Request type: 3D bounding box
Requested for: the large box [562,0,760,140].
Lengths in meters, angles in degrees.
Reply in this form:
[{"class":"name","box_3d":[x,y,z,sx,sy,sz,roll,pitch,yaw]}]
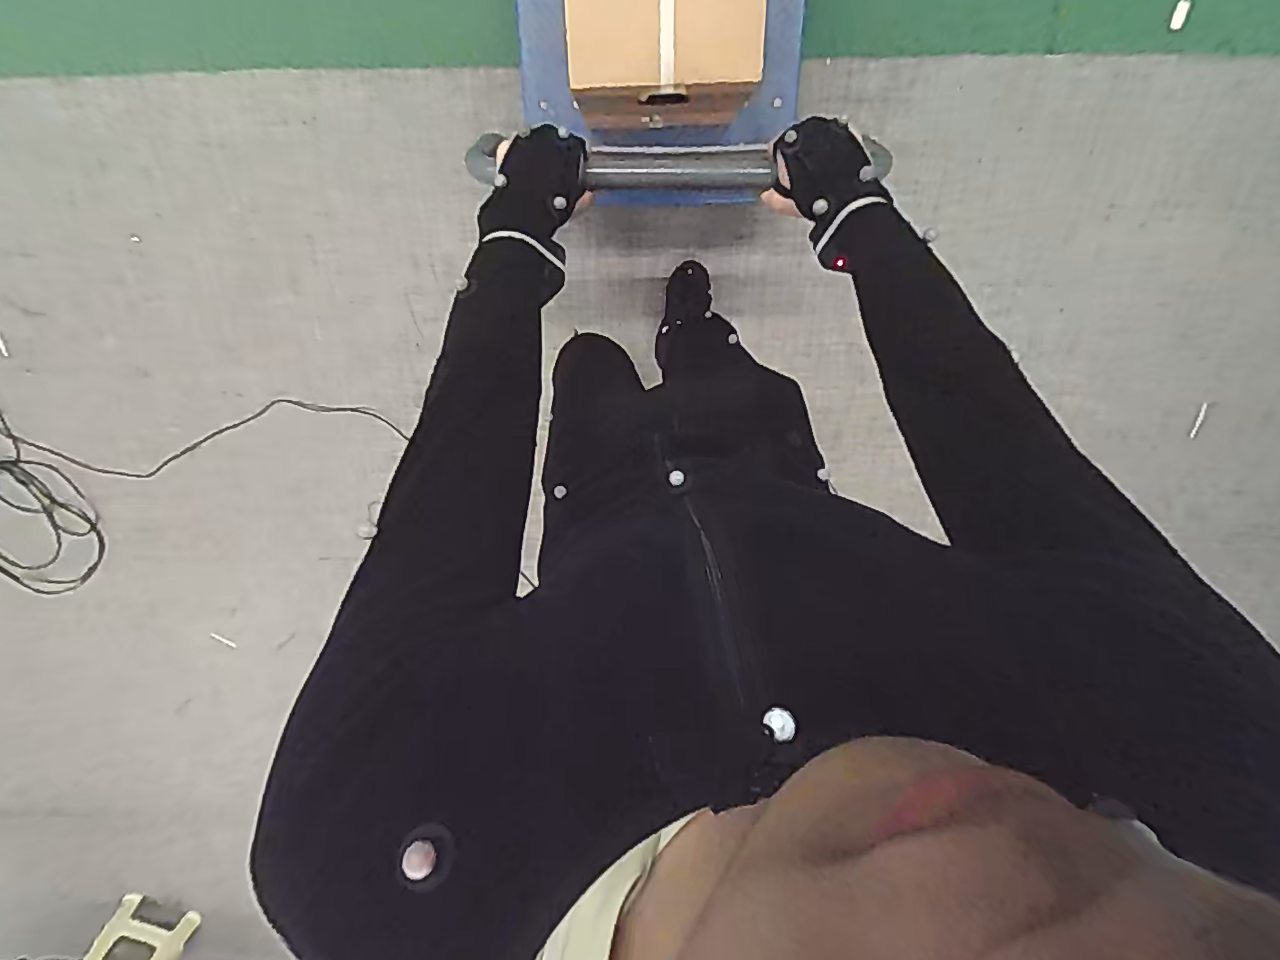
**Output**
[{"class":"large box","box_3d":[0.034,-0.868,0.953,0.320,0.320,0.408,-1,112,1]}]
